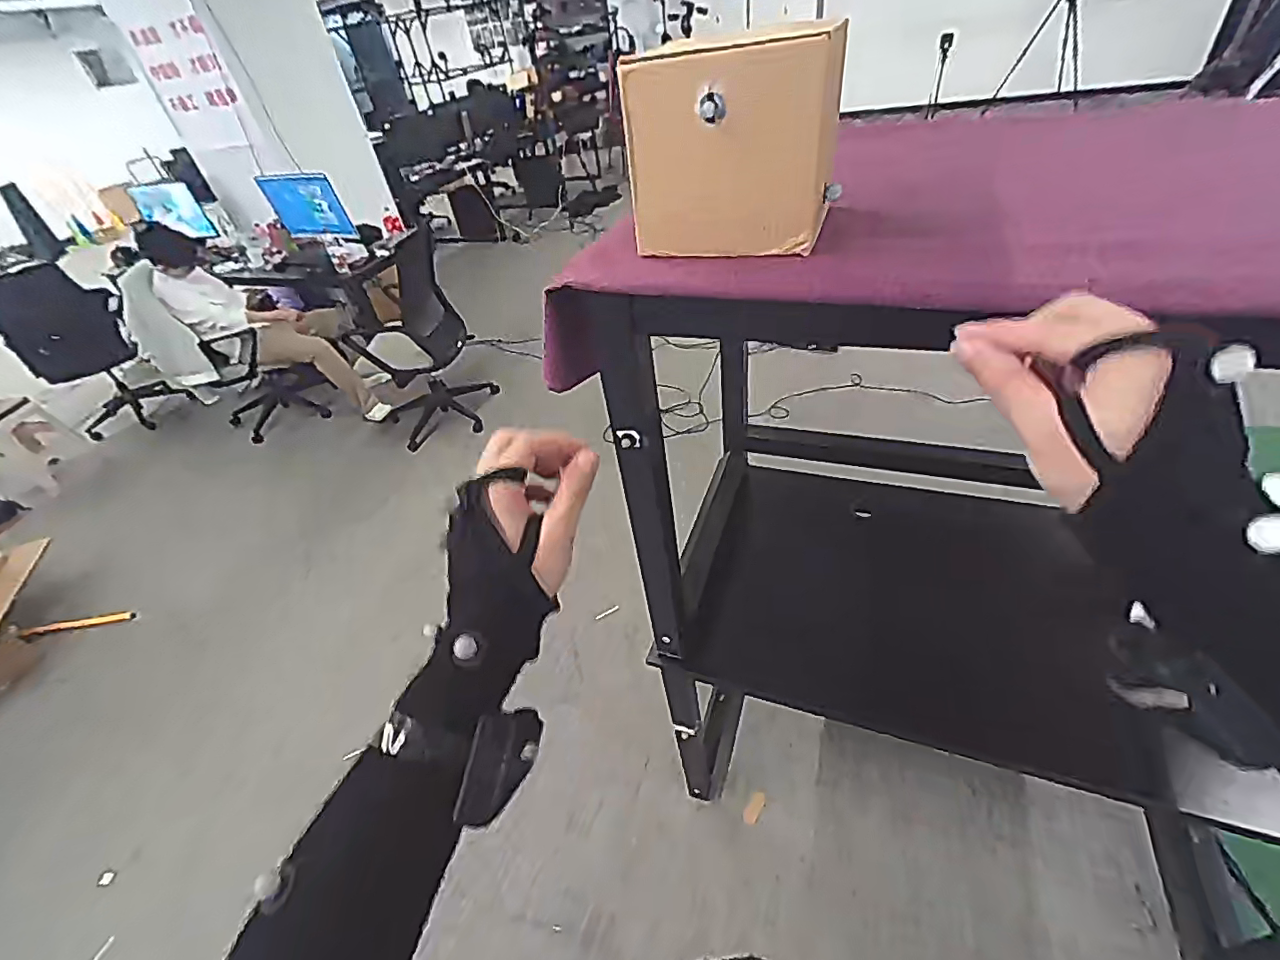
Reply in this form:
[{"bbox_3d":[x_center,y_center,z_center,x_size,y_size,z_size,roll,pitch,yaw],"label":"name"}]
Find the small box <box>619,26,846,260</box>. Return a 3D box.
[{"bbox_3d":[0.099,-0.331,0.542,0.179,0.176,0.168,9,44,20],"label":"small box"}]
